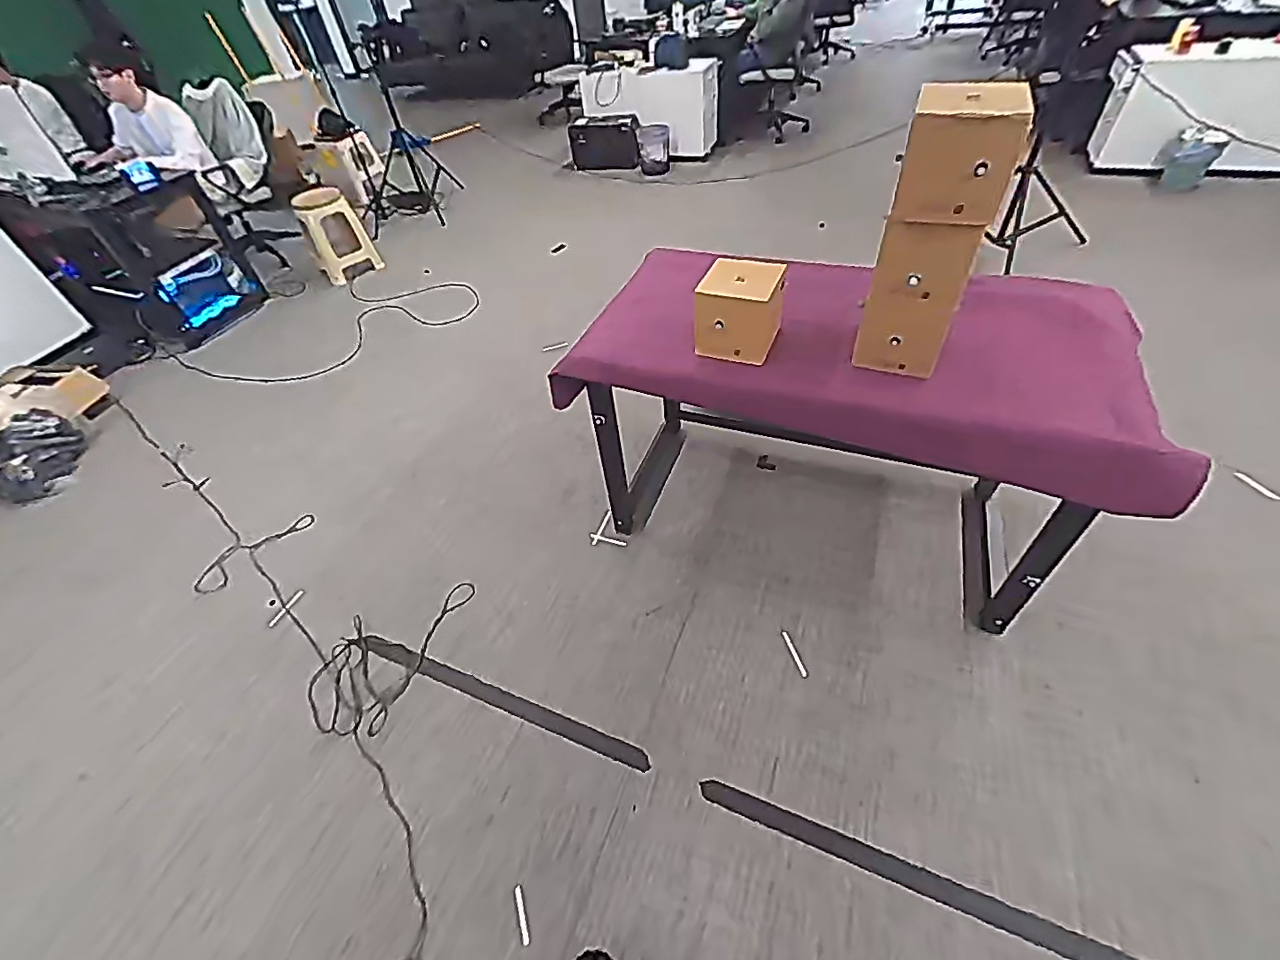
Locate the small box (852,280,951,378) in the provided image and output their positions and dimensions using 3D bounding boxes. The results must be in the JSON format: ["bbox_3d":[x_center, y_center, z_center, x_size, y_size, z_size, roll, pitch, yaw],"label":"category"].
[{"bbox_3d":[0.574,-0.347,1.183,0.168,0.176,0.179,16,51,20],"label":"small box"}]

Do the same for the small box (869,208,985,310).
[{"bbox_3d":[0.563,-0.461,1.065,0.168,0.176,0.179,15,51,21],"label":"small box"}]

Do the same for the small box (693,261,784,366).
[{"bbox_3d":[0.231,-0.390,1.267,0.168,0.176,0.179,14,49,19],"label":"small box"}]

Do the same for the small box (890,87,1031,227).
[{"bbox_3d":[0.542,-0.555,0.933,0.168,0.176,0.179,13,50,18],"label":"small box"}]
